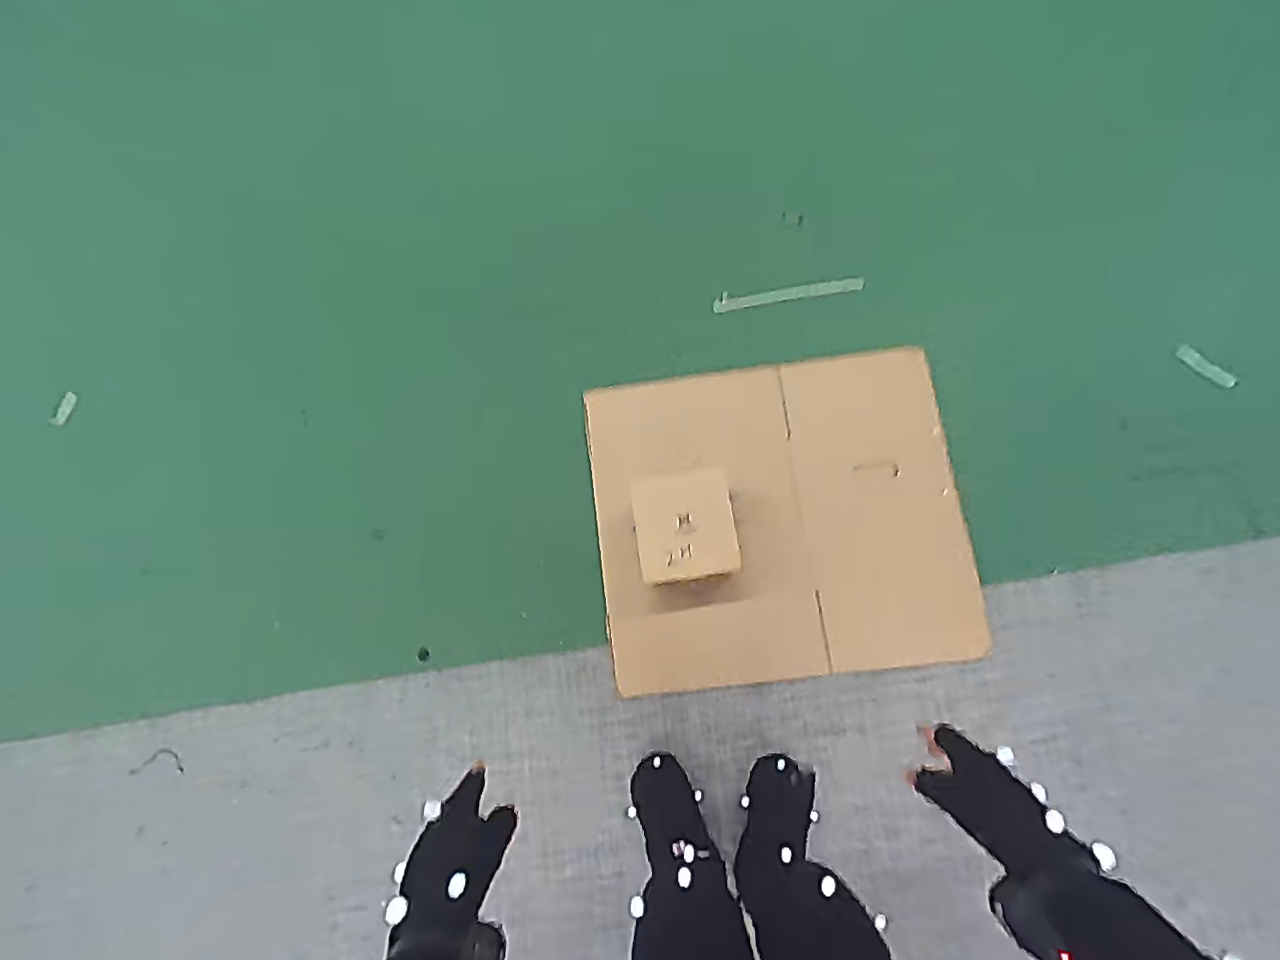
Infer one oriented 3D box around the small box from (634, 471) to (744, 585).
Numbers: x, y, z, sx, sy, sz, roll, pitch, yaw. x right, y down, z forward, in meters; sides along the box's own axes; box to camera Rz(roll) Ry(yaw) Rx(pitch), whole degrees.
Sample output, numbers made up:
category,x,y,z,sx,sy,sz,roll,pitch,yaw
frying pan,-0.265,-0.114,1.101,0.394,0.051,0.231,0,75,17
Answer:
category,x,y,z,sx,sy,sz,roll,pitch,yaw
small box,0.085,0.094,0.978,0.168,0.176,0.179,-9,79,4
